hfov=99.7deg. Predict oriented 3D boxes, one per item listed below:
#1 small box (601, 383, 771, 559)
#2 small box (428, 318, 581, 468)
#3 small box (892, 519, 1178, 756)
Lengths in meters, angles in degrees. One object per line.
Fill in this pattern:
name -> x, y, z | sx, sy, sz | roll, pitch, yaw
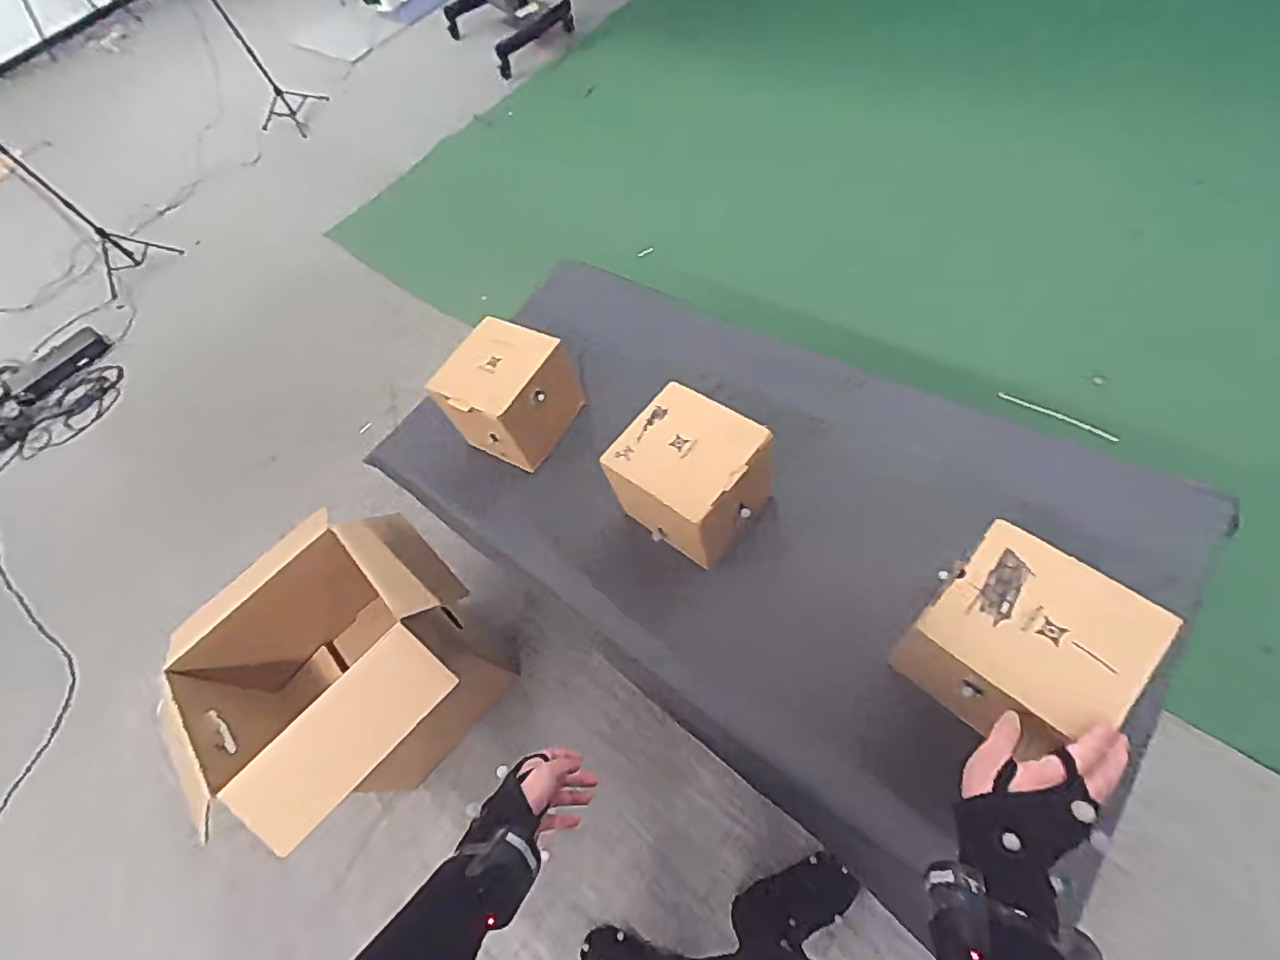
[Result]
small box -> 0.075, -0.004, 0.798 | 0.179, 0.176, 0.168 | 34, 73, 27
small box -> -0.226, -0.149, 0.957 | 0.168, 0.176, 0.179 | 23, 66, 23
small box -> 0.413, 0.181, 0.603 | 0.168, 0.176, 0.179 | -45, 60, -13
